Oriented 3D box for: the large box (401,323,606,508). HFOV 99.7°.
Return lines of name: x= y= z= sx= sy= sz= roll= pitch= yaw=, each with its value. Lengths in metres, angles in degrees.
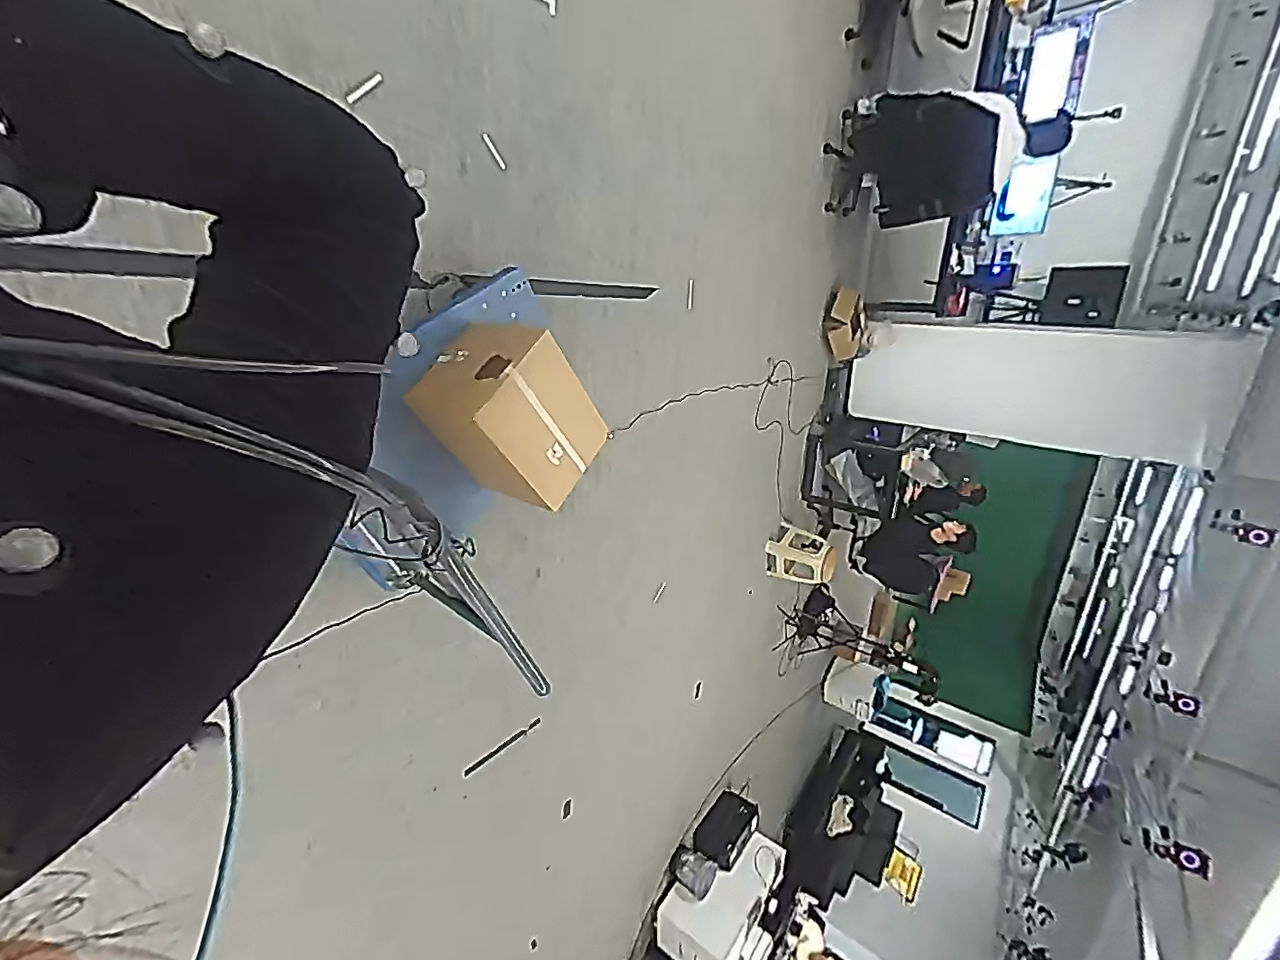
large box: x=-0.366 y=-0.181 z=1.518 sx=0.320 sy=0.320 sz=0.408 roll=-57 pitch=142 yaw=-23
